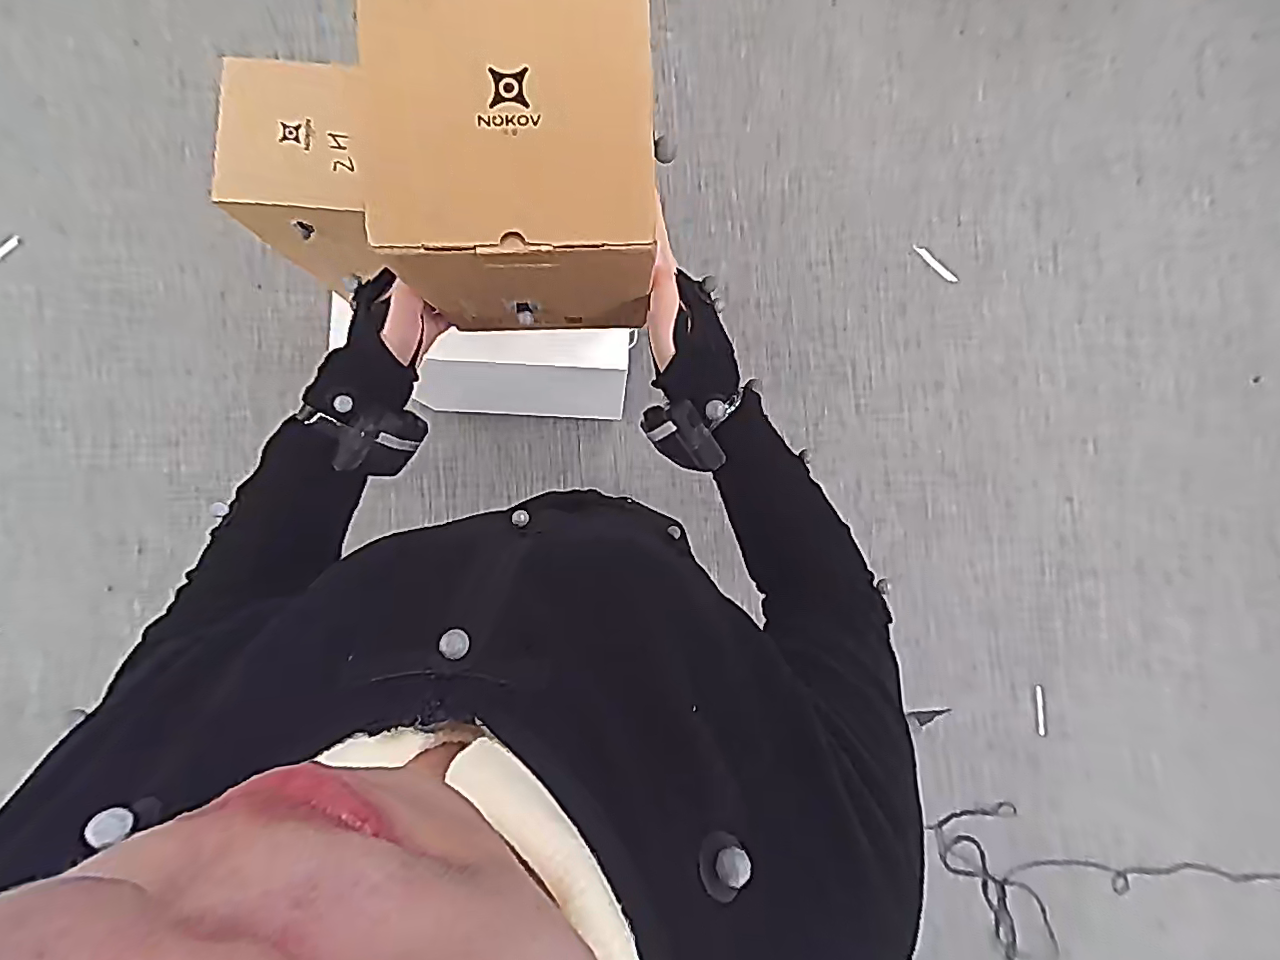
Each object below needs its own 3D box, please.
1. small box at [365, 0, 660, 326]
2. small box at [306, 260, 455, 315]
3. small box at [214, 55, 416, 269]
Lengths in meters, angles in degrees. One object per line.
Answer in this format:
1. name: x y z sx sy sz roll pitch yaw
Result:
1. small box: -0.075 -0.220 0.388 0.168 0.176 0.179 -2 92 -2
2. small box: -0.386 -0.376 0.839 0.168 0.176 0.179 3 87 -2
3. small box: -0.377 -0.379 0.674 0.179 0.176 0.168 3 88 -3
